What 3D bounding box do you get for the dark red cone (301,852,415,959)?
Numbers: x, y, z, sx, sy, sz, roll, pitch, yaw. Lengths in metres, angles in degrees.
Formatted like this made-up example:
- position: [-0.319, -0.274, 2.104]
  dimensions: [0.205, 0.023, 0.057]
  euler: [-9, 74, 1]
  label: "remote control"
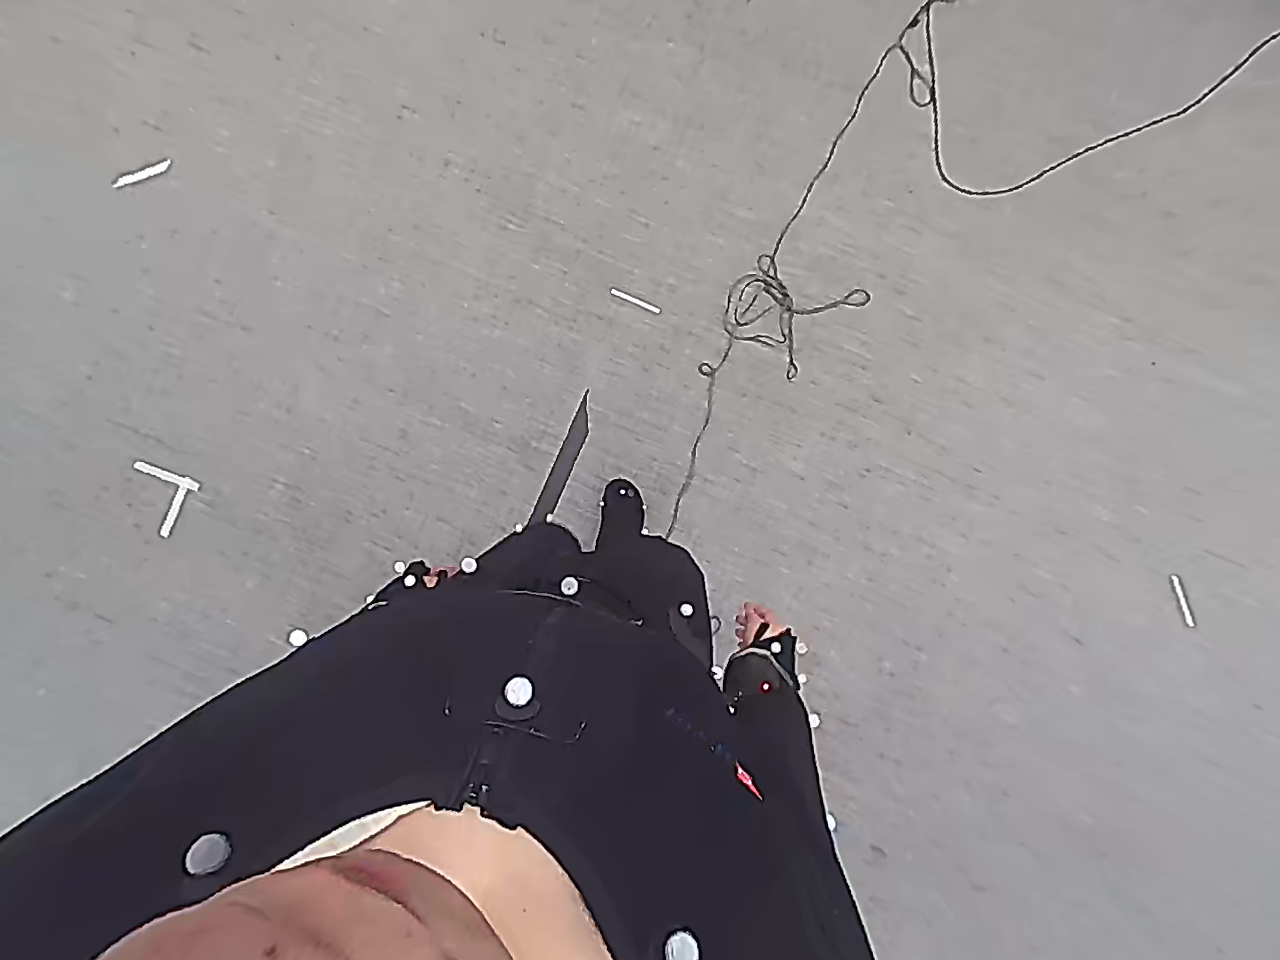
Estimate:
- position: [-0.658, 1.009, 1.139]
  dimensions: [0.201, 0.394, 0.202]
  euler: [23, 87, -1]
  label: "dark red cone"
